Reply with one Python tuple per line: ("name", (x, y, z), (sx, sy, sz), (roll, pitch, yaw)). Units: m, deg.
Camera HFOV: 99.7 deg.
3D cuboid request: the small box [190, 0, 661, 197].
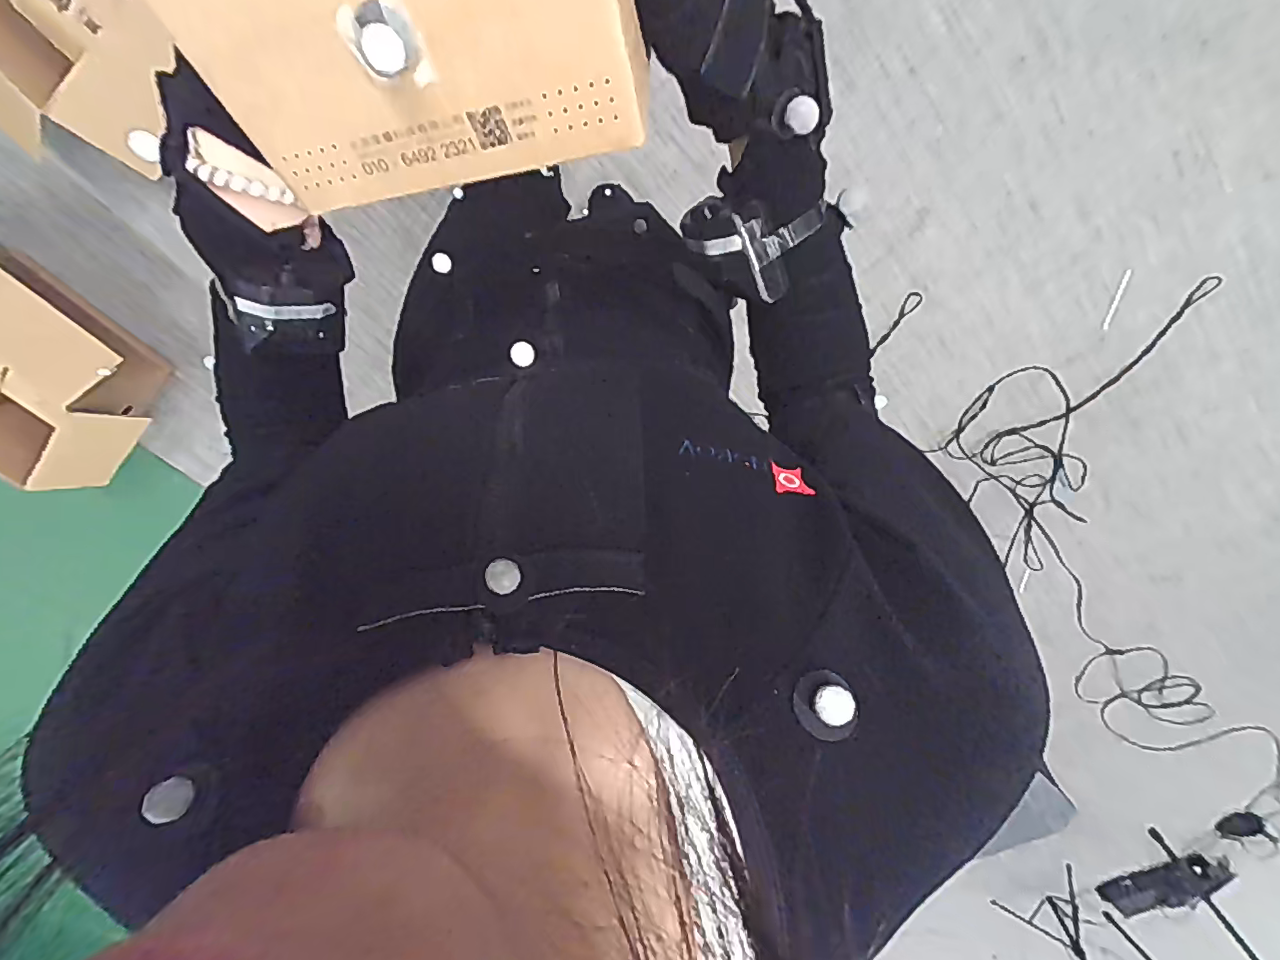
("small box", (-0.087, -0.250, 0.217), (0.168, 0.179, 0.176), (-5, 148, 12))
